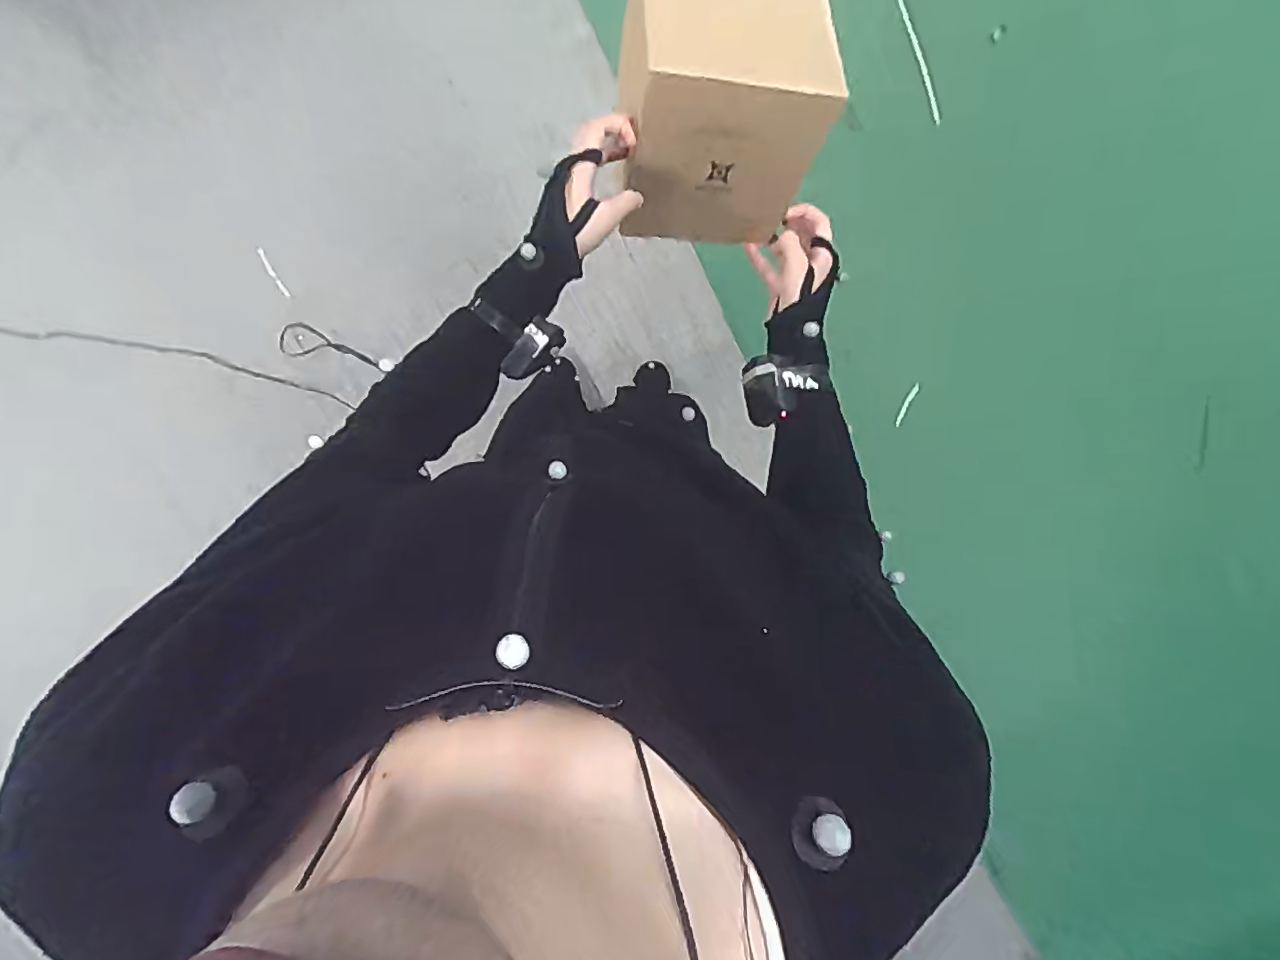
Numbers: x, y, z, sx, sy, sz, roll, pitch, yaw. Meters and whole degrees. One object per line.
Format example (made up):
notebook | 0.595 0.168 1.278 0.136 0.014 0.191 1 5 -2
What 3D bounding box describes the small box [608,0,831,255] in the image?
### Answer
small box | 0.060 -0.351 0.524 0.168 0.179 0.176 0 72 -10
